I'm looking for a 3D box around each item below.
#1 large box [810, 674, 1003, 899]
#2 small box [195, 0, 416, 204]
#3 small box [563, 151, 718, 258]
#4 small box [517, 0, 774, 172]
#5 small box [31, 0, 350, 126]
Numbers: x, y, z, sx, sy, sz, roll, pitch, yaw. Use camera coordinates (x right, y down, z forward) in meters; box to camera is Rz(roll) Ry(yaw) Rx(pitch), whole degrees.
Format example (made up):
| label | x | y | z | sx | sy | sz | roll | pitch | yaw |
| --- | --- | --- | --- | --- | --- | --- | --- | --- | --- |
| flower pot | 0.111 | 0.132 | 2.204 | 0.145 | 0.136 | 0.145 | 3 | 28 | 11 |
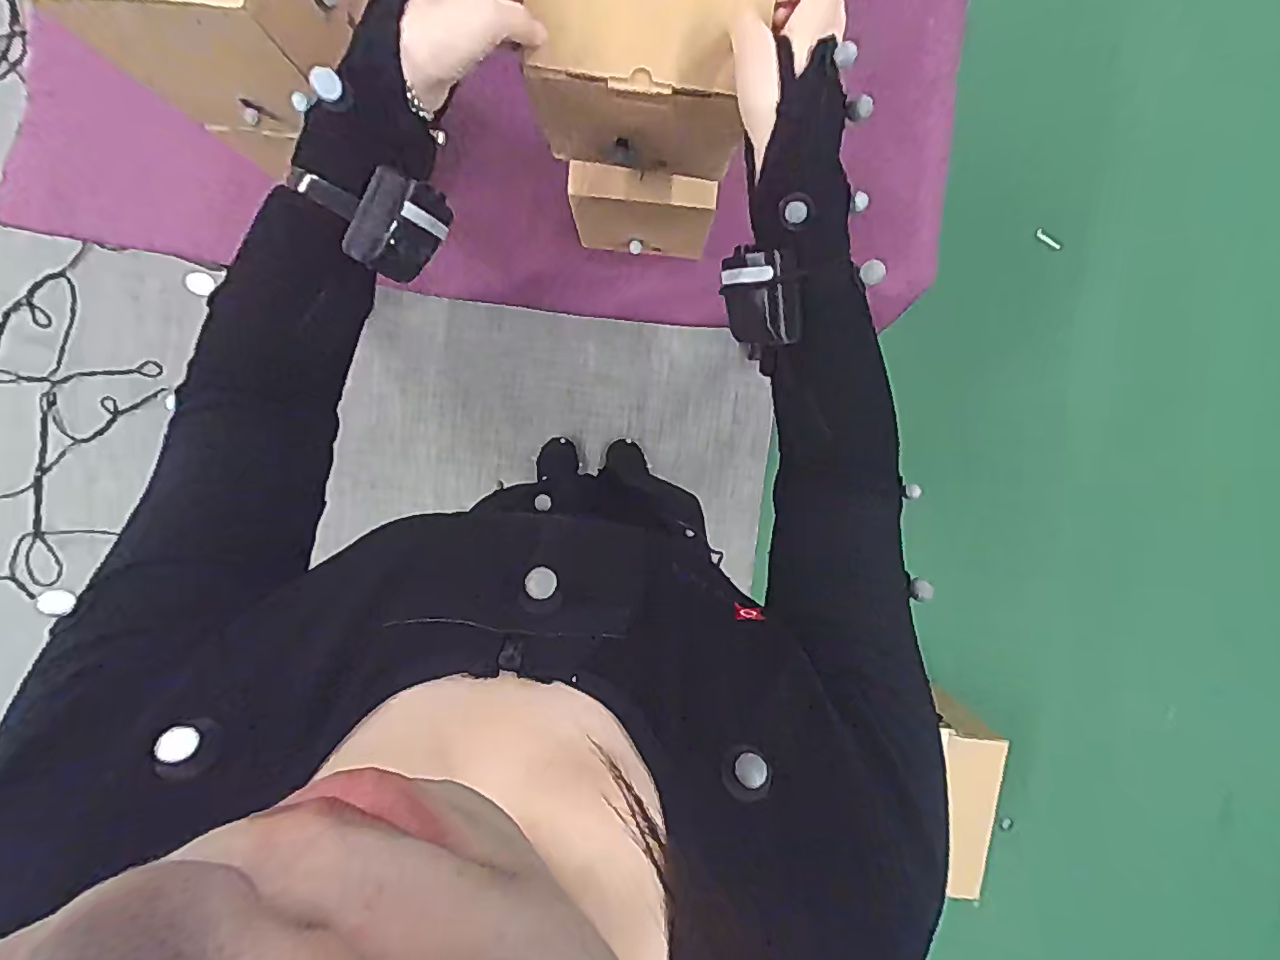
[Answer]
| label | x | y | z | sx | sy | sz | roll | pitch | yaw |
| --- | --- | --- | --- | --- | --- | --- | --- | --- | --- |
| large box | 0.667 | 0.770 | 1.412 | 0.320 | 0.320 | 0.408 | 7 | 95 | 0 |
| small box | -0.383 | -0.461 | 0.645 | 0.168 | 0.176 | 0.179 | 4 | 93 | 0 |
| small box | 0.007 | -0.392 | 0.653 | 0.168 | 0.176 | 0.179 | 6 | 95 | 0 |
| small box | 0.008 | -0.369 | 0.419 | 0.168 | 0.176 | 0.179 | 7 | 104 | -3 |
| small box | -0.383 | -0.449 | 0.481 | 0.179 | 0.176 | 0.168 | 4 | 93 | -1 |
